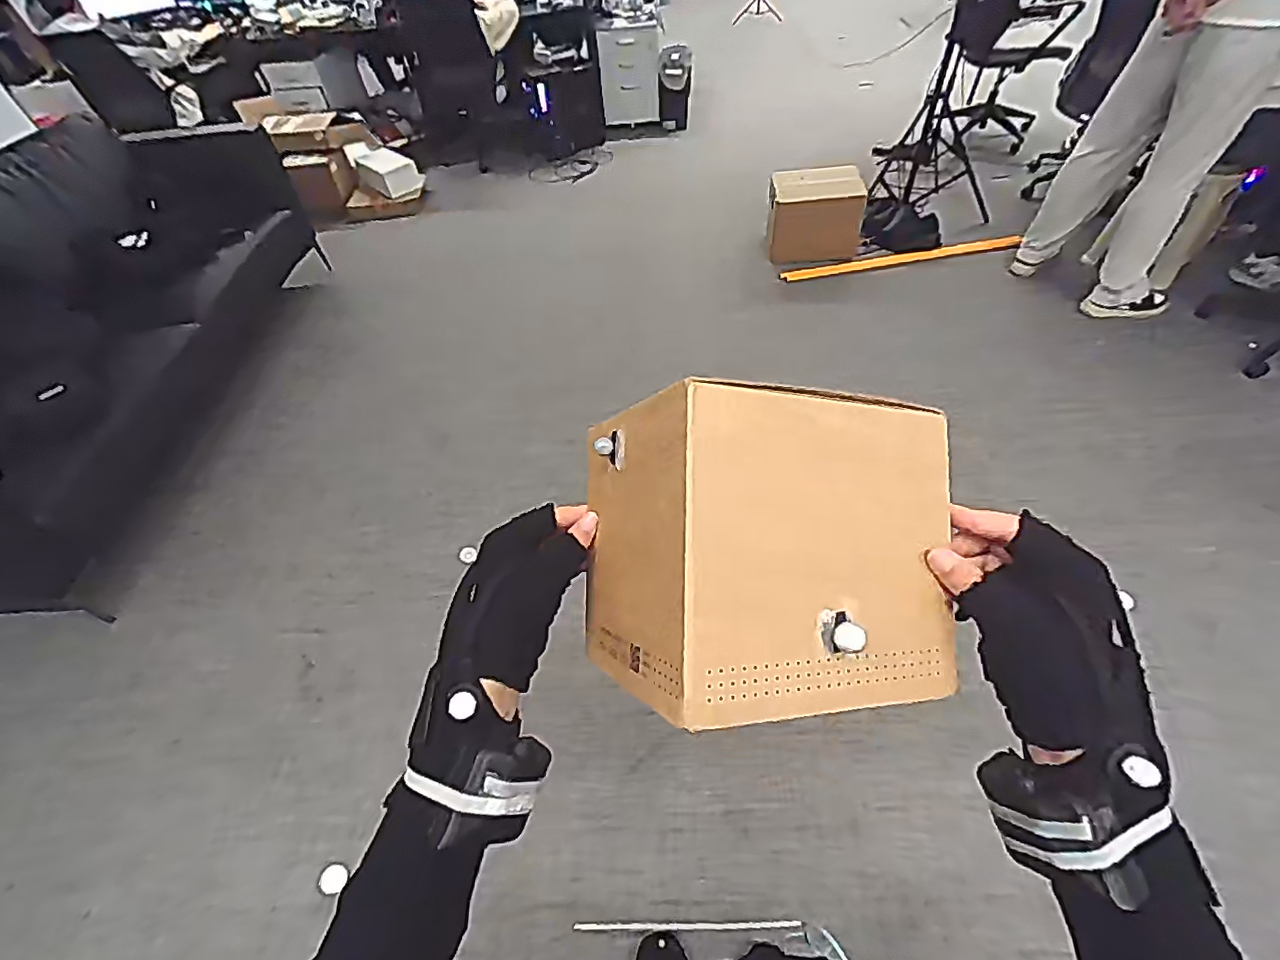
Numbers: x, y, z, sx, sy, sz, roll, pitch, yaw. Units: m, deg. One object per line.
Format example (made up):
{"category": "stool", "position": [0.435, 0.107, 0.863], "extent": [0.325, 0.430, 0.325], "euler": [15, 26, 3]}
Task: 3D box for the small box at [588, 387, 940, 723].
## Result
{"category": "small box", "position": [0.070, 0.047, 0.366], "extent": [0.179, 0.168, 0.176], "euler": [4, 84, -22]}
